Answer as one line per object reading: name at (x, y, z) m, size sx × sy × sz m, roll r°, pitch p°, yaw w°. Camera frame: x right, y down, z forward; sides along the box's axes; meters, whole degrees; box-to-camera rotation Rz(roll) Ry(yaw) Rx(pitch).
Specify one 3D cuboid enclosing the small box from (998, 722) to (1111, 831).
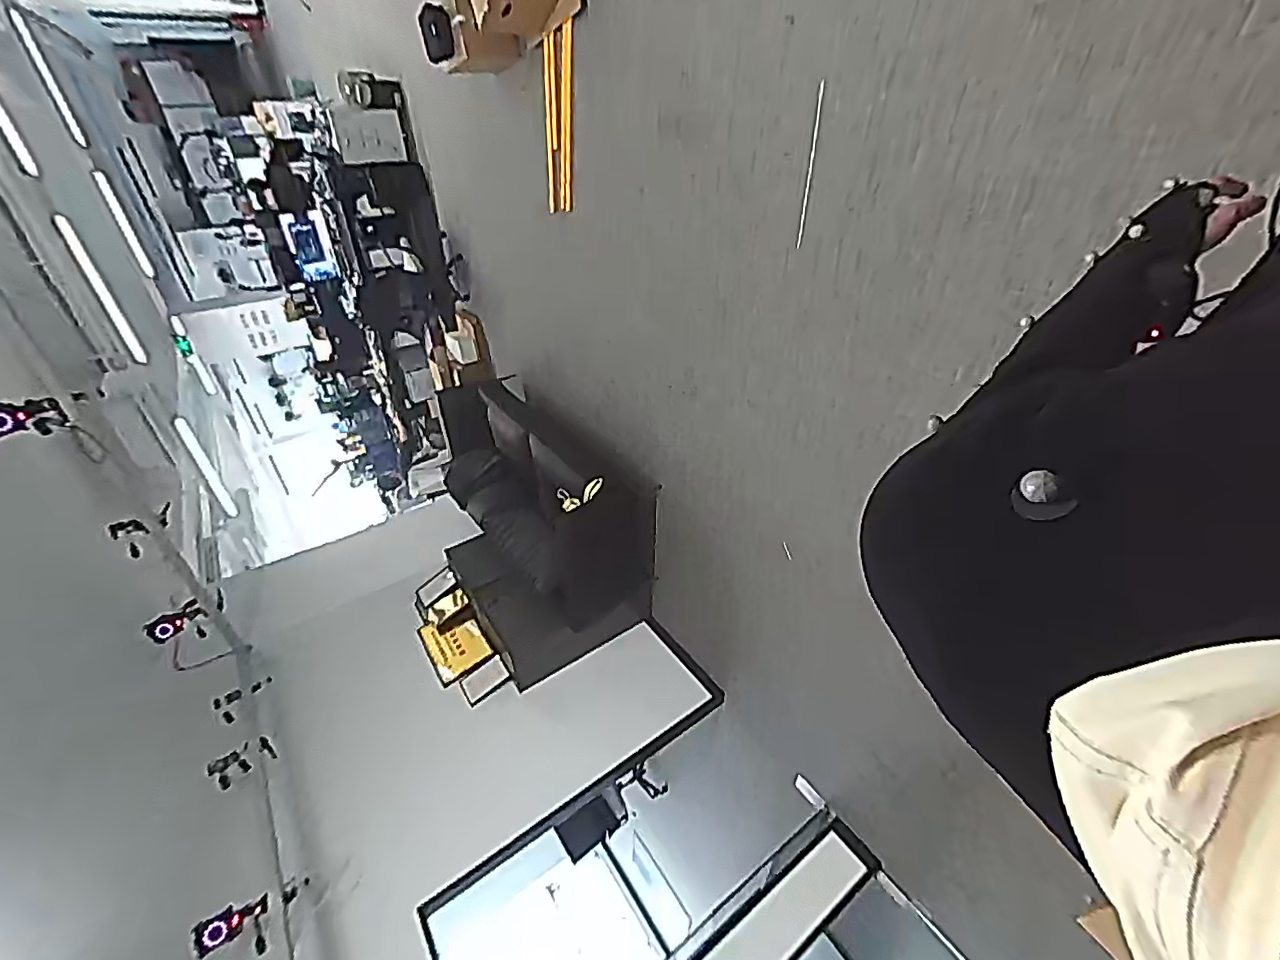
small box at (1.133, 0.803, 1.475) m, size 0.168 × 0.176 × 0.179 m, roll 42°, pitch 144°, yaw 38°

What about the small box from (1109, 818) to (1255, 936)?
small box at (1.301, 0.962, 1.300) m, size 0.168 × 0.176 × 0.179 m, roll 44°, pitch 145°, yaw 38°

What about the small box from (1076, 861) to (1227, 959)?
small box at (1.163, 1.021, 1.232) m, size 0.168 × 0.176 × 0.179 m, roll 44°, pitch 145°, yaw 38°

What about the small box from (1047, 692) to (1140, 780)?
small box at (1.271, 0.749, 1.547) m, size 0.168 × 0.176 × 0.179 m, roll 42°, pitch 142°, yaw 37°
